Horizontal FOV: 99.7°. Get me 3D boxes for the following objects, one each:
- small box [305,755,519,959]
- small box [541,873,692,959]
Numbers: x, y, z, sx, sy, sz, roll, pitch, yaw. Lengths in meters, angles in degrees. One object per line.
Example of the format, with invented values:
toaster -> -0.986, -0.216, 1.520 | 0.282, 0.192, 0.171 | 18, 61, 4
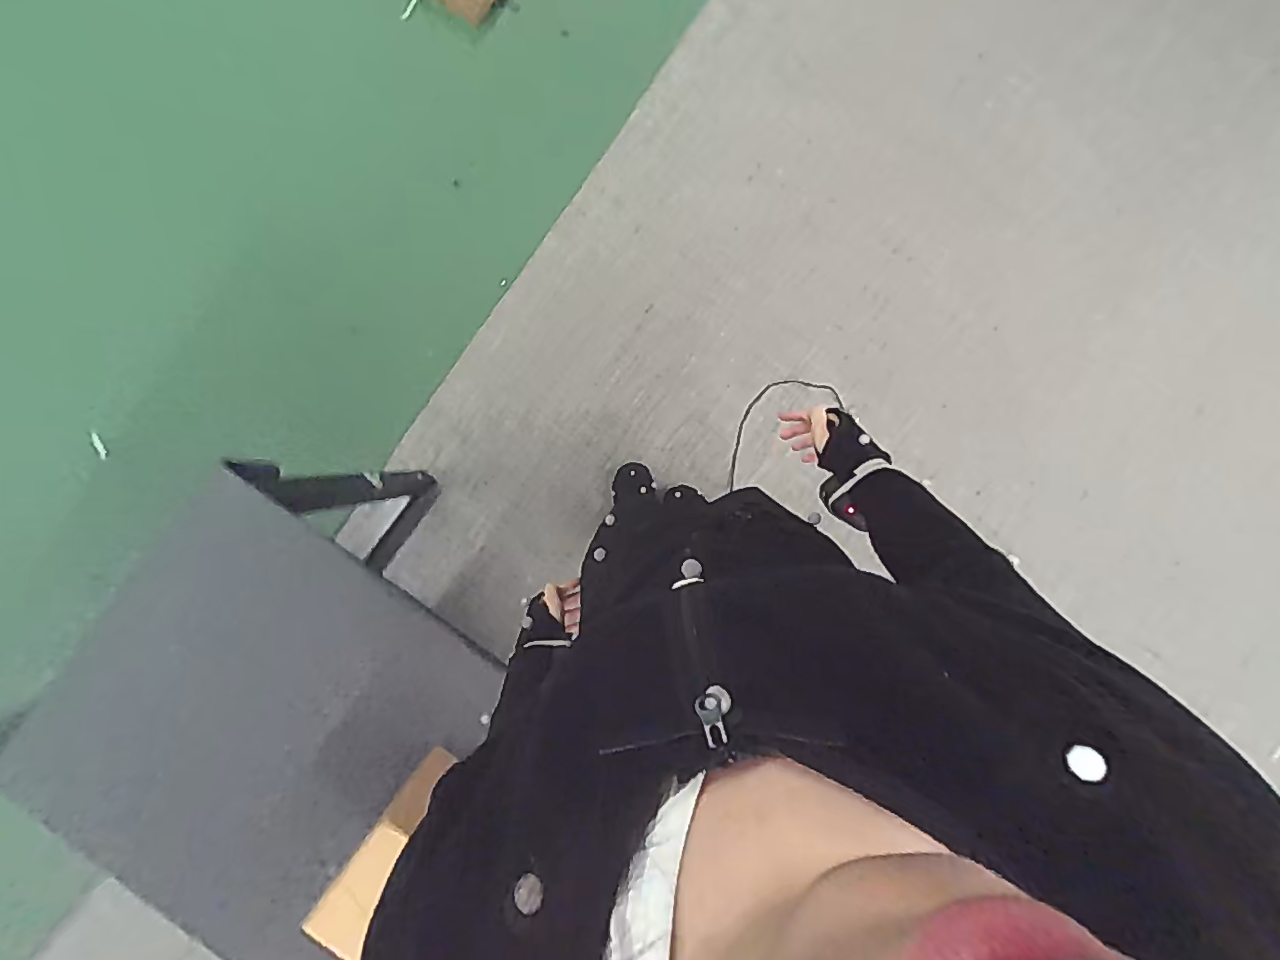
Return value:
small box -> -0.285, 0.519, 0.721 | 0.168, 0.176, 0.179 | 37, 93, -1
small box -> -0.037, 0.691, 0.725 | 0.168, 0.176, 0.179 | 42, 93, -1
